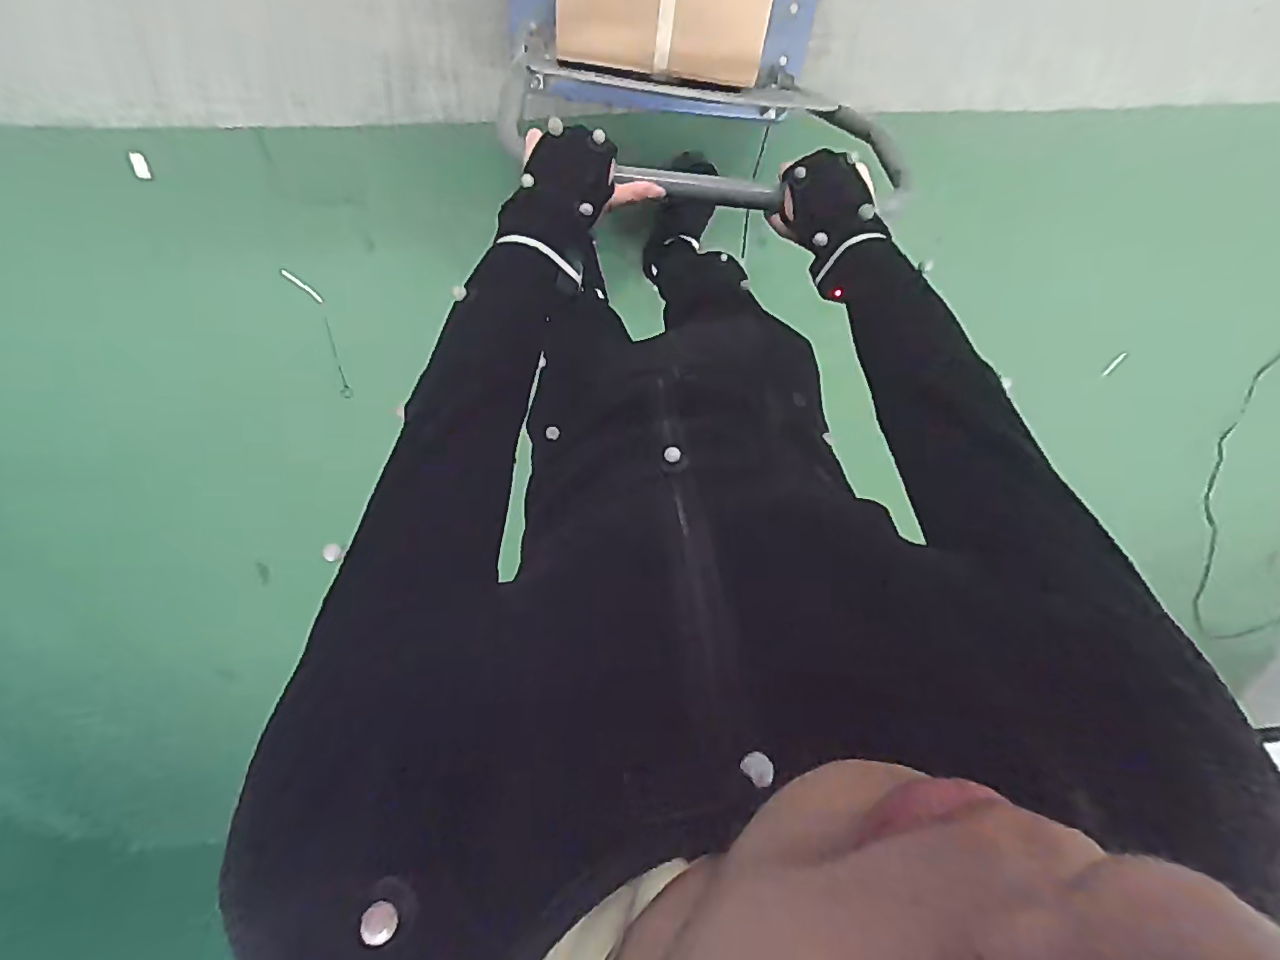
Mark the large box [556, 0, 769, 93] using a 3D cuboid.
[{"bbox_3d":[0.033,-0.866,0.844,0.320,0.320,0.408,2,127,-9],"label":"large box"}]
